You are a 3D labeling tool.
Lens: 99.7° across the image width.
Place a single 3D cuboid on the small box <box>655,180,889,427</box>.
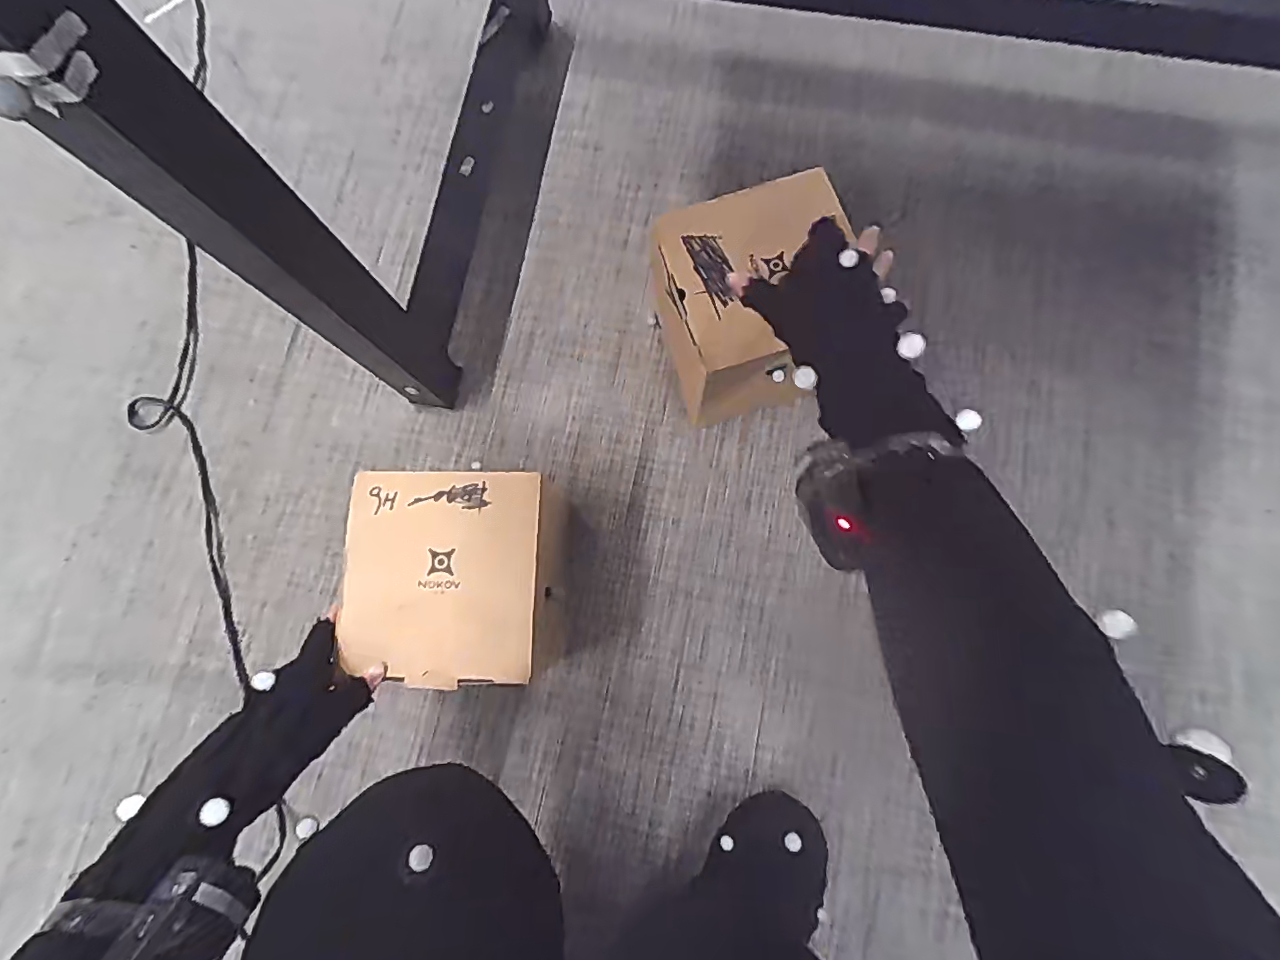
[{"bbox_3d":[0.122,-0.171,0.575,0.179,0.176,0.168,-17,79,-2],"label":"small box"}]
